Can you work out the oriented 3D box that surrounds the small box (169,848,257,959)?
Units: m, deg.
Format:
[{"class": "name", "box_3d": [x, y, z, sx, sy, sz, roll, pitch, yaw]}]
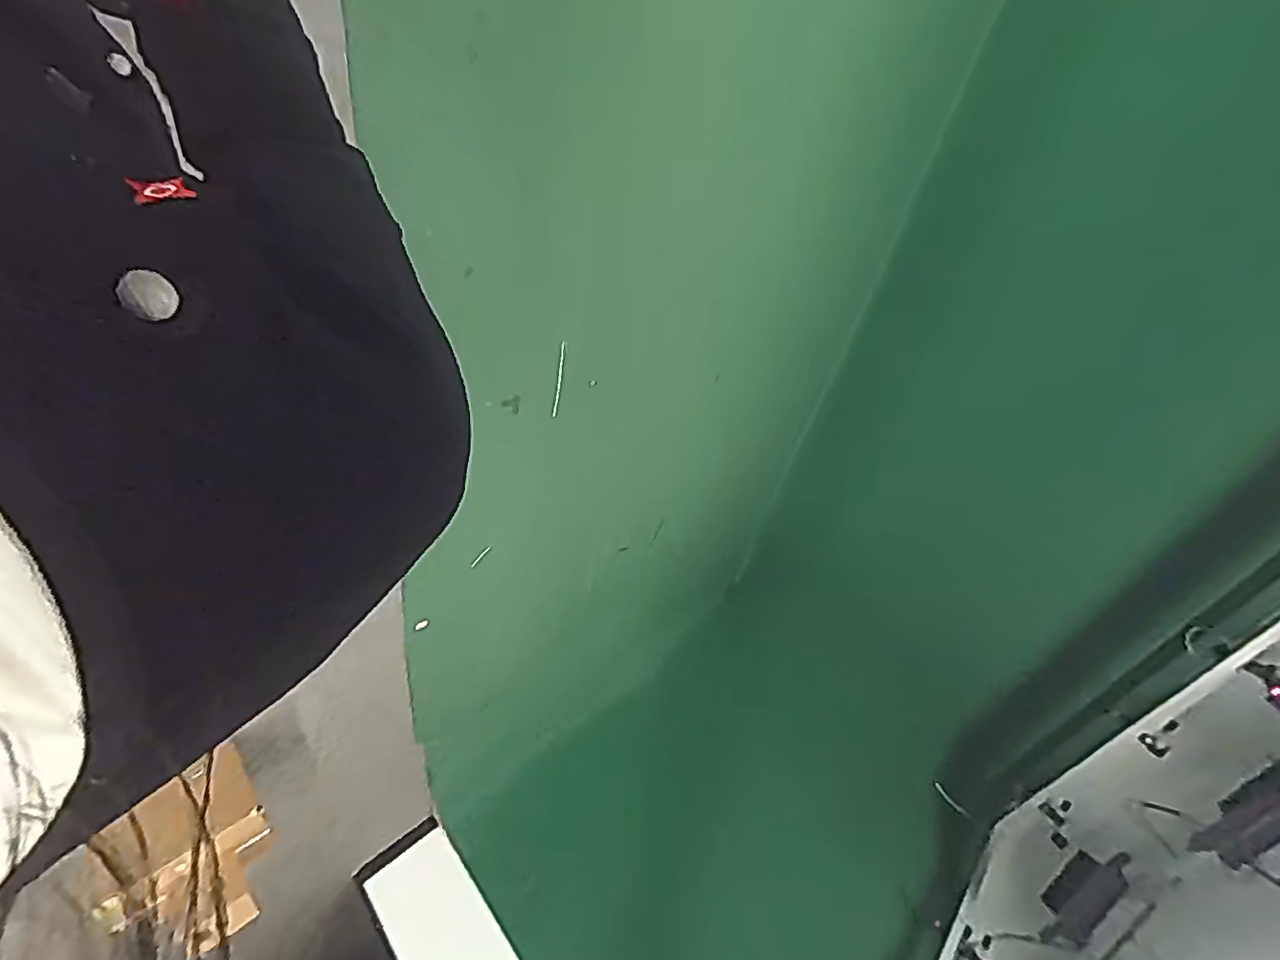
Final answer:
[{"class": "small box", "box_3d": [-1.311, 1.291, 1.659, 0.179, 0.176, 0.168, -19, 132, -44]}]
